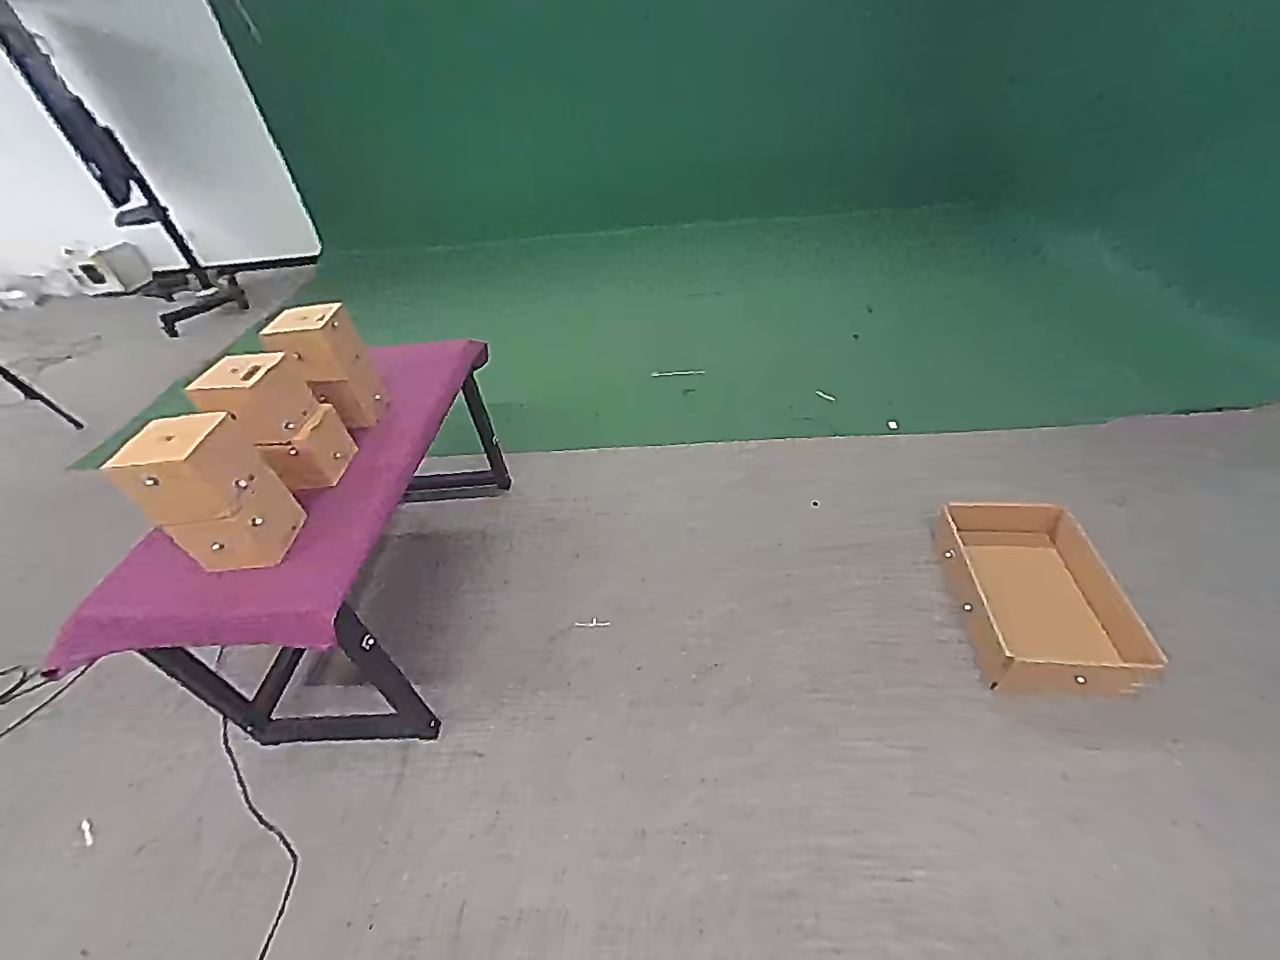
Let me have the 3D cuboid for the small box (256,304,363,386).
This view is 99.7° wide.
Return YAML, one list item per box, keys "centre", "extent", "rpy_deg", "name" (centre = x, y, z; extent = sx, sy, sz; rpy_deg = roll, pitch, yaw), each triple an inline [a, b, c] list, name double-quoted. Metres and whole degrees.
- centre: [-0.944, -0.385, 1.562]
  extent: [0.179, 0.176, 0.168]
  rpy_deg: [-6, 42, 2]
  name: "small box"

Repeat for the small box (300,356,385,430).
- centre: [-0.927, -0.263, 1.670]
  extent: [0.179, 0.176, 0.168]
  rpy_deg: [-5, 42, 2]
  name: "small box"

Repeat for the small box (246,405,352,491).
- centre: [-0.931, -0.084, 1.474]
  extent: [0.179, 0.176, 0.168]
  rpy_deg: [-4, 41, 3]
  name: "small box"

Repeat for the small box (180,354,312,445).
- centre: [-0.977, -0.201, 1.362]
  extent: [0.179, 0.176, 0.168]
  rpy_deg: [-2, 42, 6]
  name: "small box"

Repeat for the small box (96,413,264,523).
- centre: [-0.967, -0.022, 1.157]
  extent: [0.179, 0.176, 0.168]
  rpy_deg: [-5, 42, 3]
  name: "small box"
